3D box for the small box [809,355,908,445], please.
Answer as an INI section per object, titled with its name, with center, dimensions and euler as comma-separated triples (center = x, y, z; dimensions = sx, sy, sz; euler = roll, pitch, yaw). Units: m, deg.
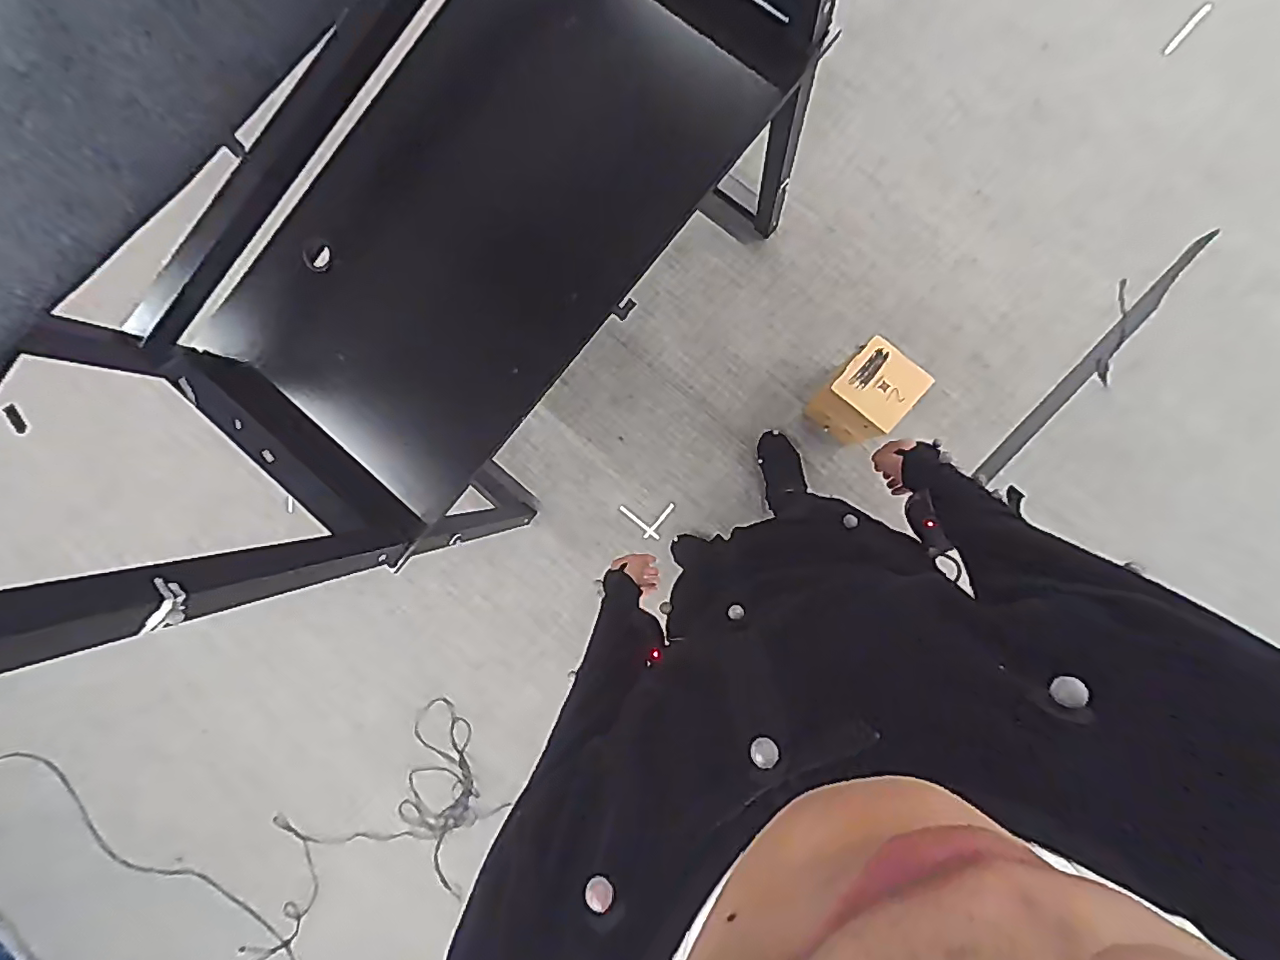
[small box]
center = 0.592, -0.214, 1.495
dimensions = 0.168, 0.176, 0.179
euler = 39, 96, 6
